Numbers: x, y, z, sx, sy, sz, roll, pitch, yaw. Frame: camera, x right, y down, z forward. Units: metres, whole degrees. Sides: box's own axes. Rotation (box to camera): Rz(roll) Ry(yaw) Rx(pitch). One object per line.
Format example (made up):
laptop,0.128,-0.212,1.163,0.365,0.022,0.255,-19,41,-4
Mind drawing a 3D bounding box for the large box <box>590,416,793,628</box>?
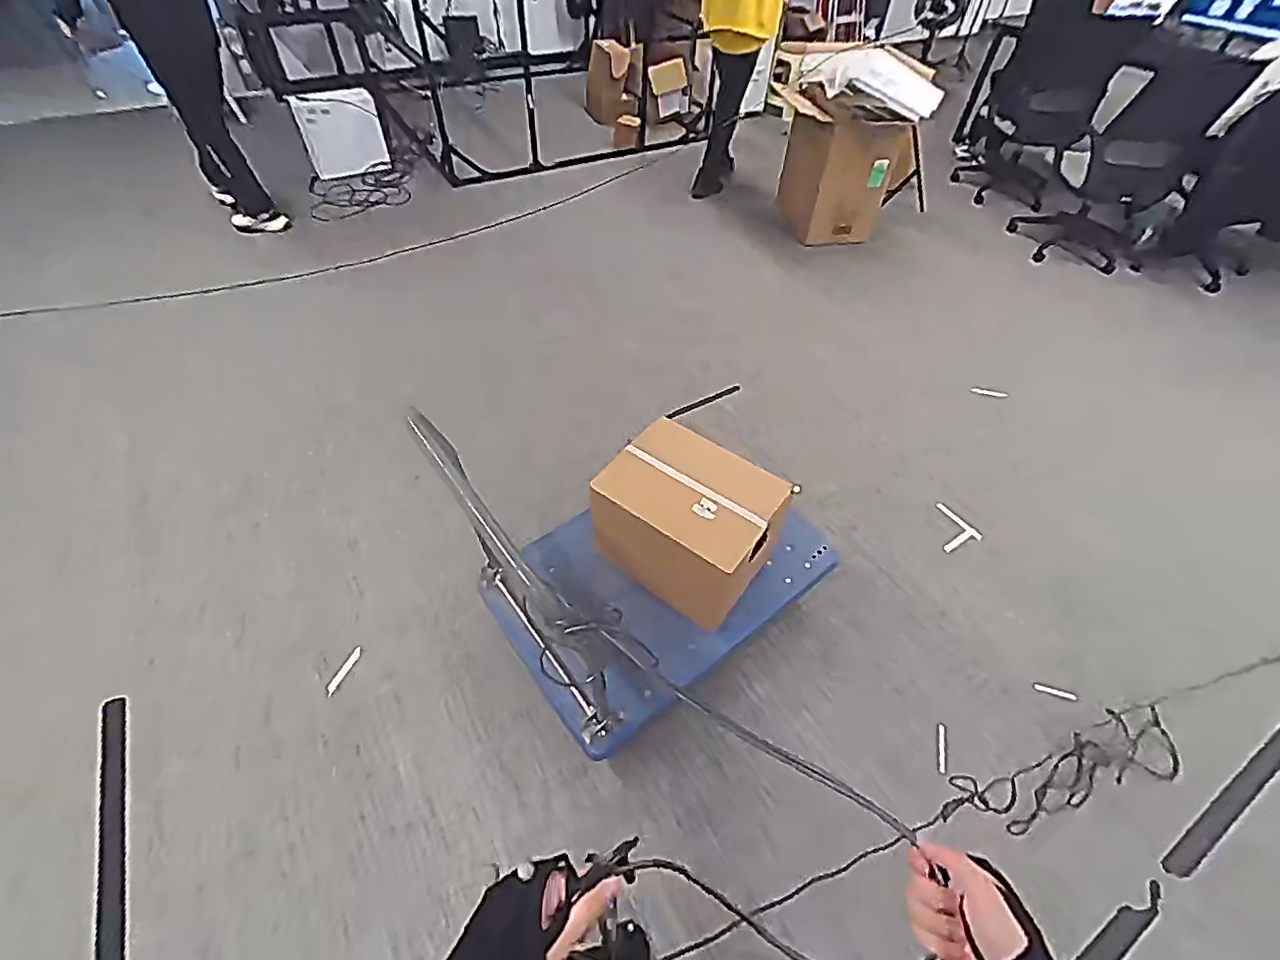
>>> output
large box,0.117,0.106,1.413,0.408,0.320,0.320,31,57,20
